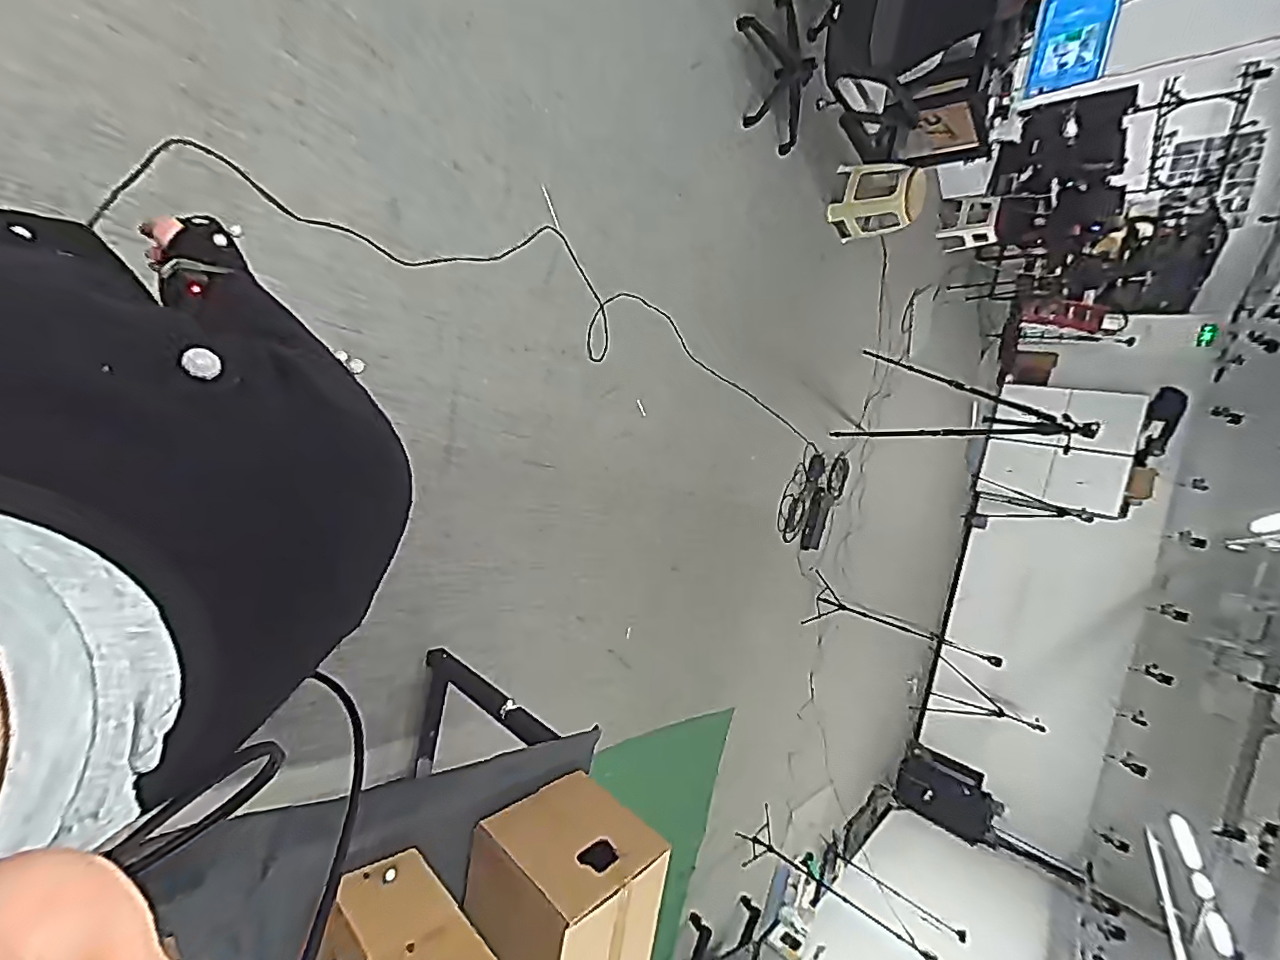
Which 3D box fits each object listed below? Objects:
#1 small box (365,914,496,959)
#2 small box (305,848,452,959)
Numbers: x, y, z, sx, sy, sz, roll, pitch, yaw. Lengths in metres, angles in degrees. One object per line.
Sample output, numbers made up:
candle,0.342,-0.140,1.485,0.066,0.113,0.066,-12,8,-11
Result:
small box,-0.352,0.857,0.872,0.168,0.176,0.179,13,94,-50
small box,-0.473,0.819,0.973,0.168,0.176,0.179,14,91,-52
